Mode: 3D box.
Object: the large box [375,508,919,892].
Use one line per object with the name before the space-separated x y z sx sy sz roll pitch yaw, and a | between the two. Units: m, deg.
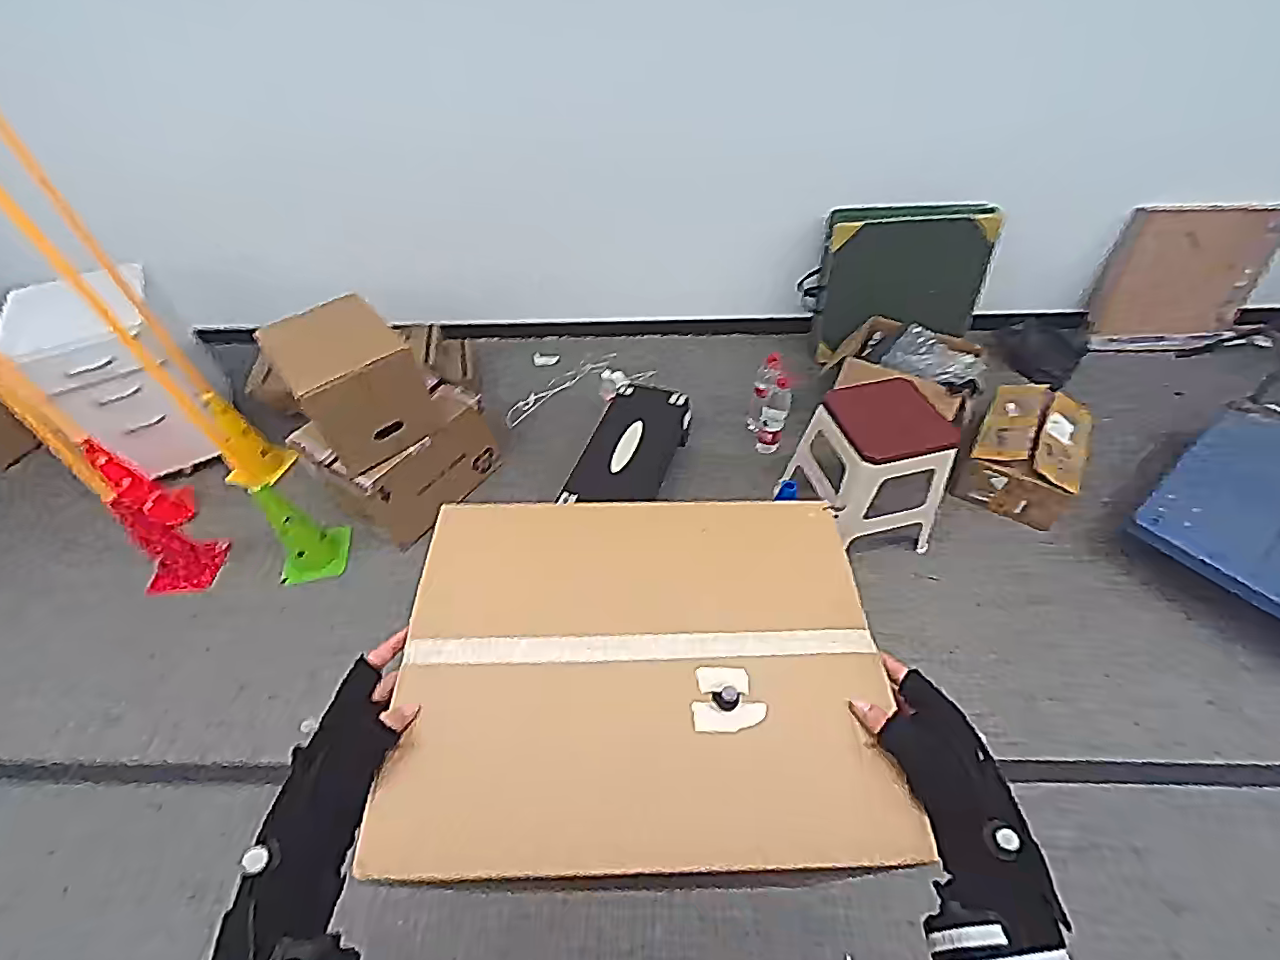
large box | -0.001 0.245 0.595 0.408 0.320 0.320 0 52 -2
